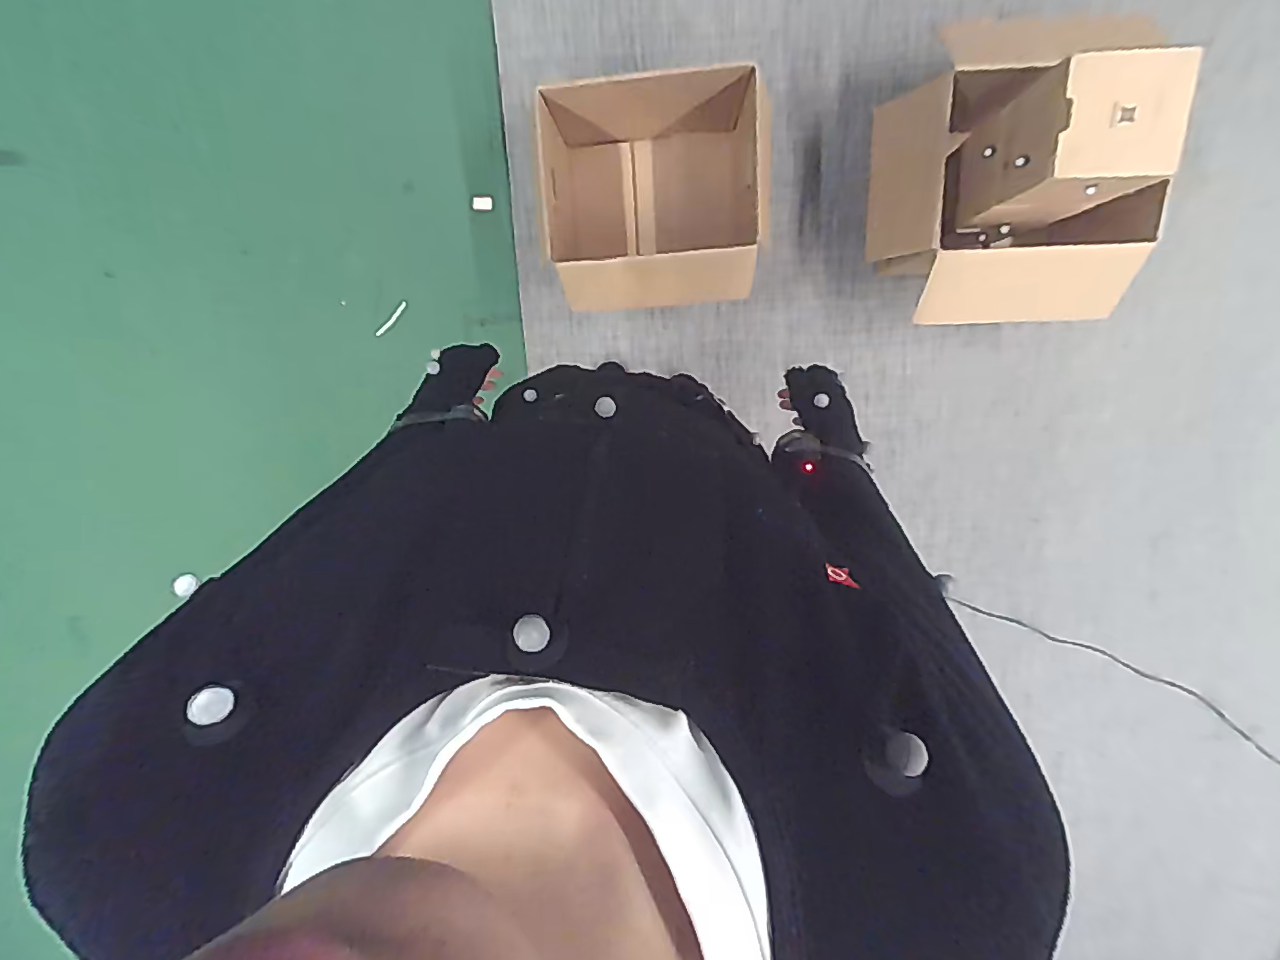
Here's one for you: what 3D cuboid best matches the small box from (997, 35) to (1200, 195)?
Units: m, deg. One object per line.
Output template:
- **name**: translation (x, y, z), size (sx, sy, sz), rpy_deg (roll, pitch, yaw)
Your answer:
- **small box**: translation (0.712, -0.568, 0.865), size (0.179, 0.176, 0.168), rpy_deg (0, 105, 5)
